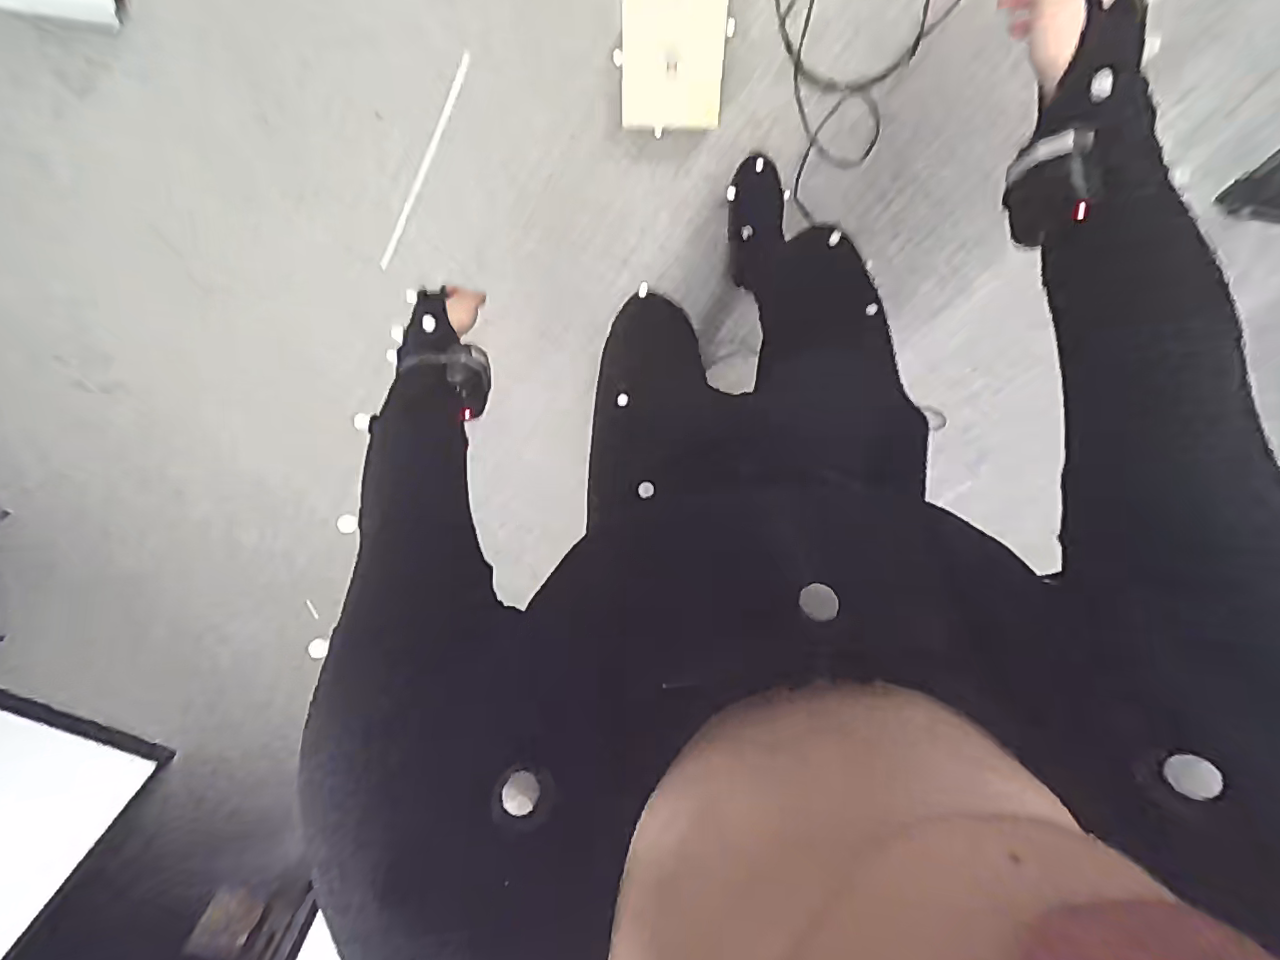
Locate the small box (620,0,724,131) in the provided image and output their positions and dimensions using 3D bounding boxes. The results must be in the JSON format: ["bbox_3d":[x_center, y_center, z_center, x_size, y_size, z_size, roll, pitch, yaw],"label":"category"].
[{"bbox_3d":[0.055,-0.722,0.951,0.168,0.176,0.179,3,124,3],"label":"small box"}]
